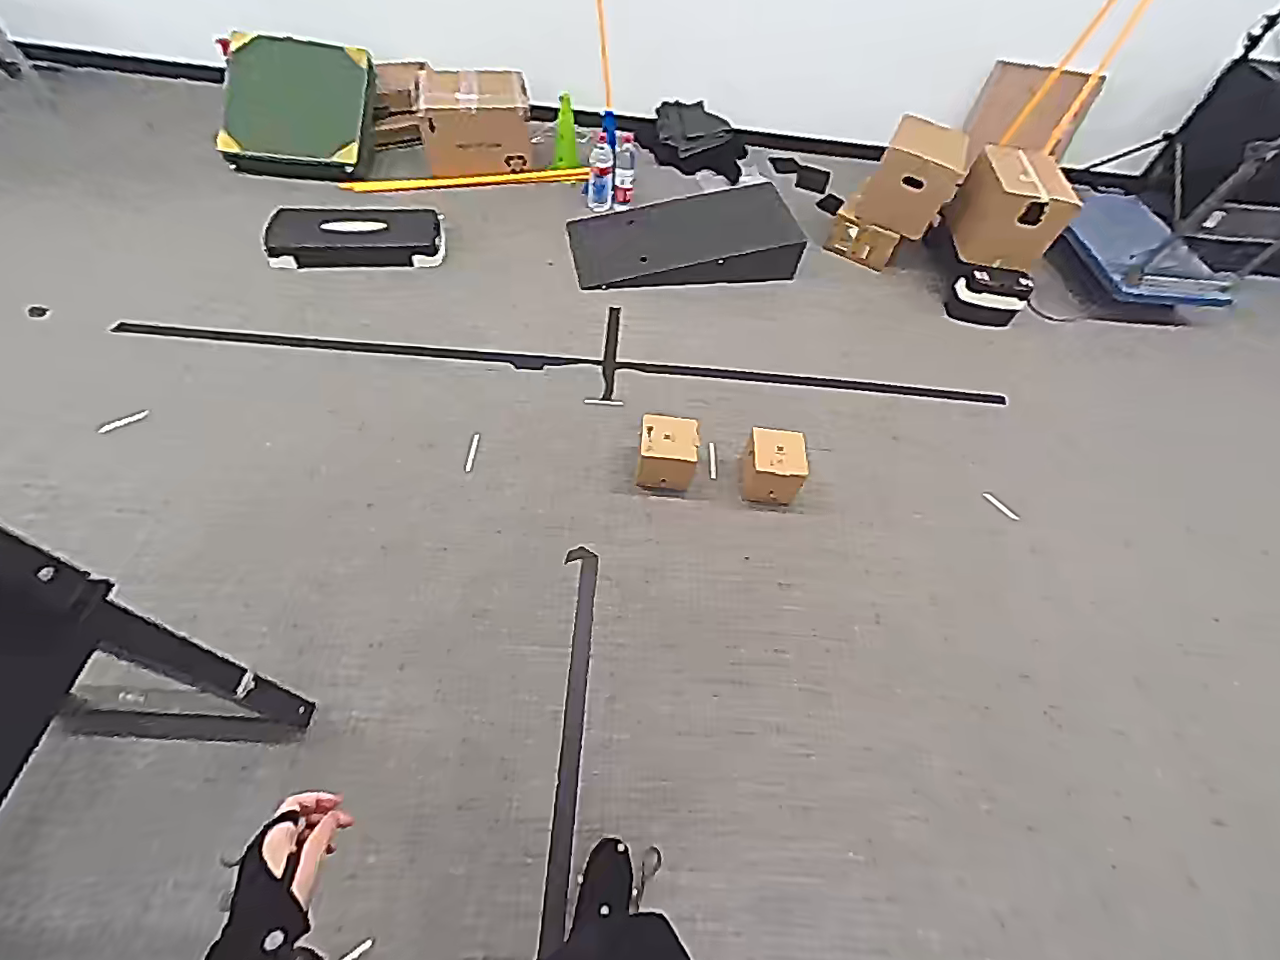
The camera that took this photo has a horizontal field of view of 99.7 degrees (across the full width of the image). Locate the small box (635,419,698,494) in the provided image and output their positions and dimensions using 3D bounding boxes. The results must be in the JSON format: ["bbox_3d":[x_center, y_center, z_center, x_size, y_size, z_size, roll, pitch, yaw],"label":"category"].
[{"bbox_3d":[0.084,-0.072,1.739,0.179,0.176,0.168,7,55,-4],"label":"small box"}]

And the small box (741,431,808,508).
[{"bbox_3d":[0.429,-0.031,1.755,0.168,0.176,0.179,6,55,-2],"label":"small box"}]
